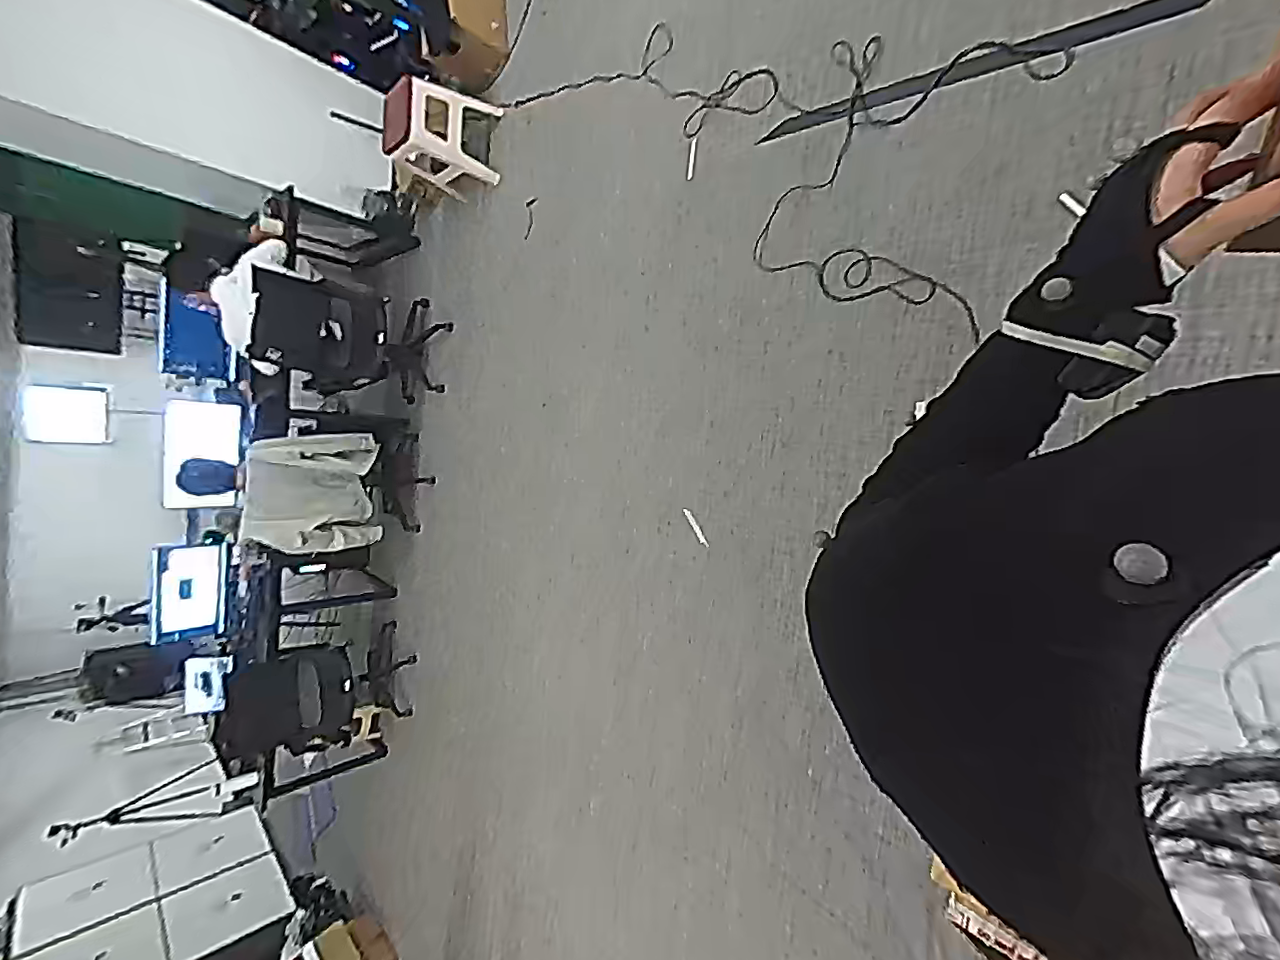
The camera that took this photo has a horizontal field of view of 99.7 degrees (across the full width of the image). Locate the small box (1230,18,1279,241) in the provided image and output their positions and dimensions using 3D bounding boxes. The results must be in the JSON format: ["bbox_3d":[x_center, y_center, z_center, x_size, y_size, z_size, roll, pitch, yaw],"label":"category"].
[{"bbox_3d":[0.455,-0.250,0.278,0.168,0.176,0.179,14,93,39],"label":"small box"}]
